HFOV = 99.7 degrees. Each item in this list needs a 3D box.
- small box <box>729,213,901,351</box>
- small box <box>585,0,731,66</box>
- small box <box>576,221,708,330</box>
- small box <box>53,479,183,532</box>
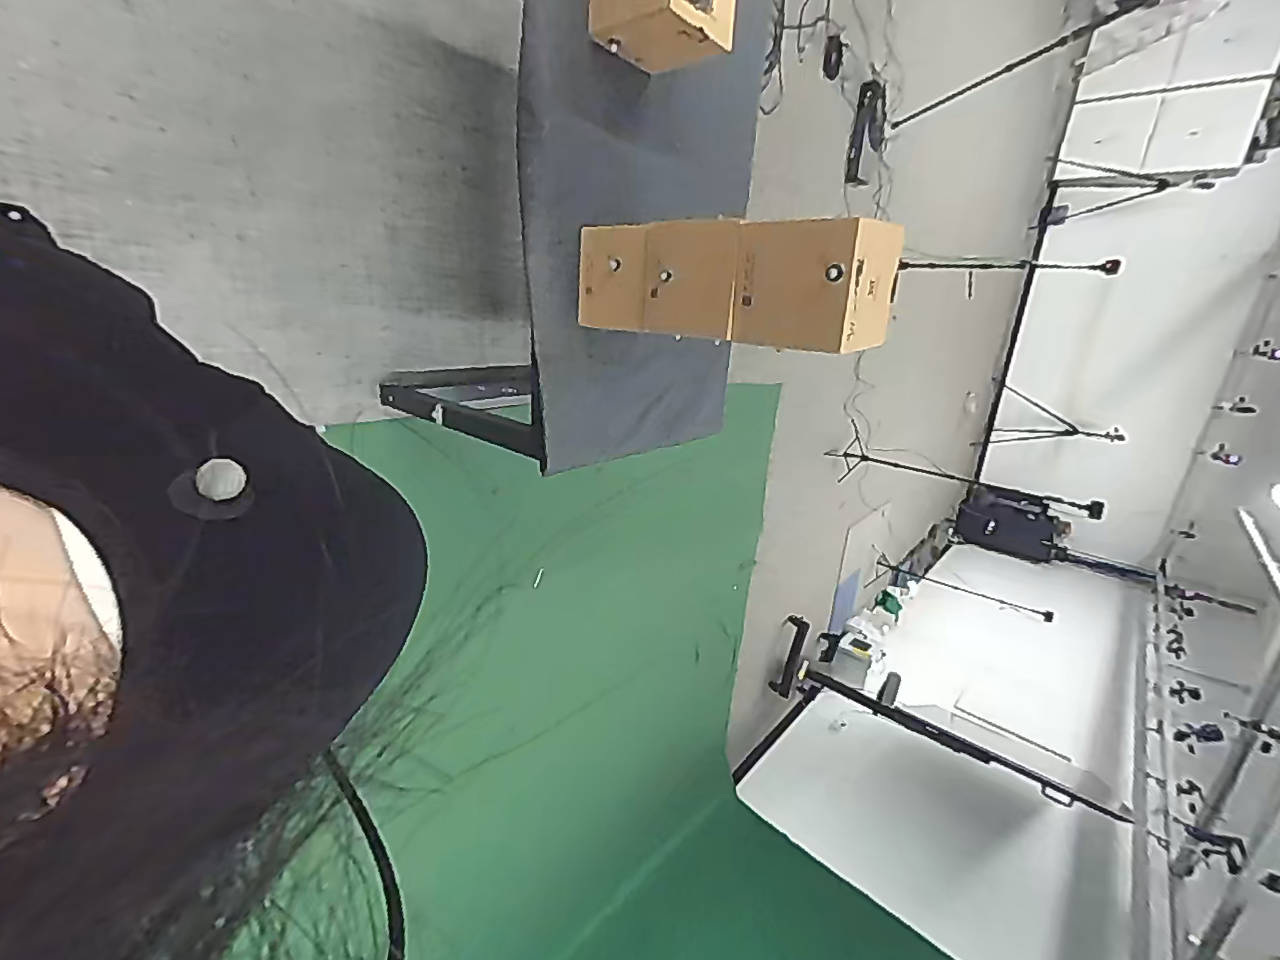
[{"bbox_3d":[0.249,-0.283,0.778,0.179,0.176,0.168,-22,120,-46],"label":"small box"},{"bbox_3d":[0.030,-0.784,0.840,0.168,0.176,0.179,-16,116,-48],"label":"small box"},{"bbox_3d":[0.000,-0.361,0.977,0.179,0.176,0.168,-17,117,-48],"label":"small box"},{"bbox_3d":[-1.049,0.103,1.078,0.168,0.176,0.179,8,99,-51],"label":"small box"}]
